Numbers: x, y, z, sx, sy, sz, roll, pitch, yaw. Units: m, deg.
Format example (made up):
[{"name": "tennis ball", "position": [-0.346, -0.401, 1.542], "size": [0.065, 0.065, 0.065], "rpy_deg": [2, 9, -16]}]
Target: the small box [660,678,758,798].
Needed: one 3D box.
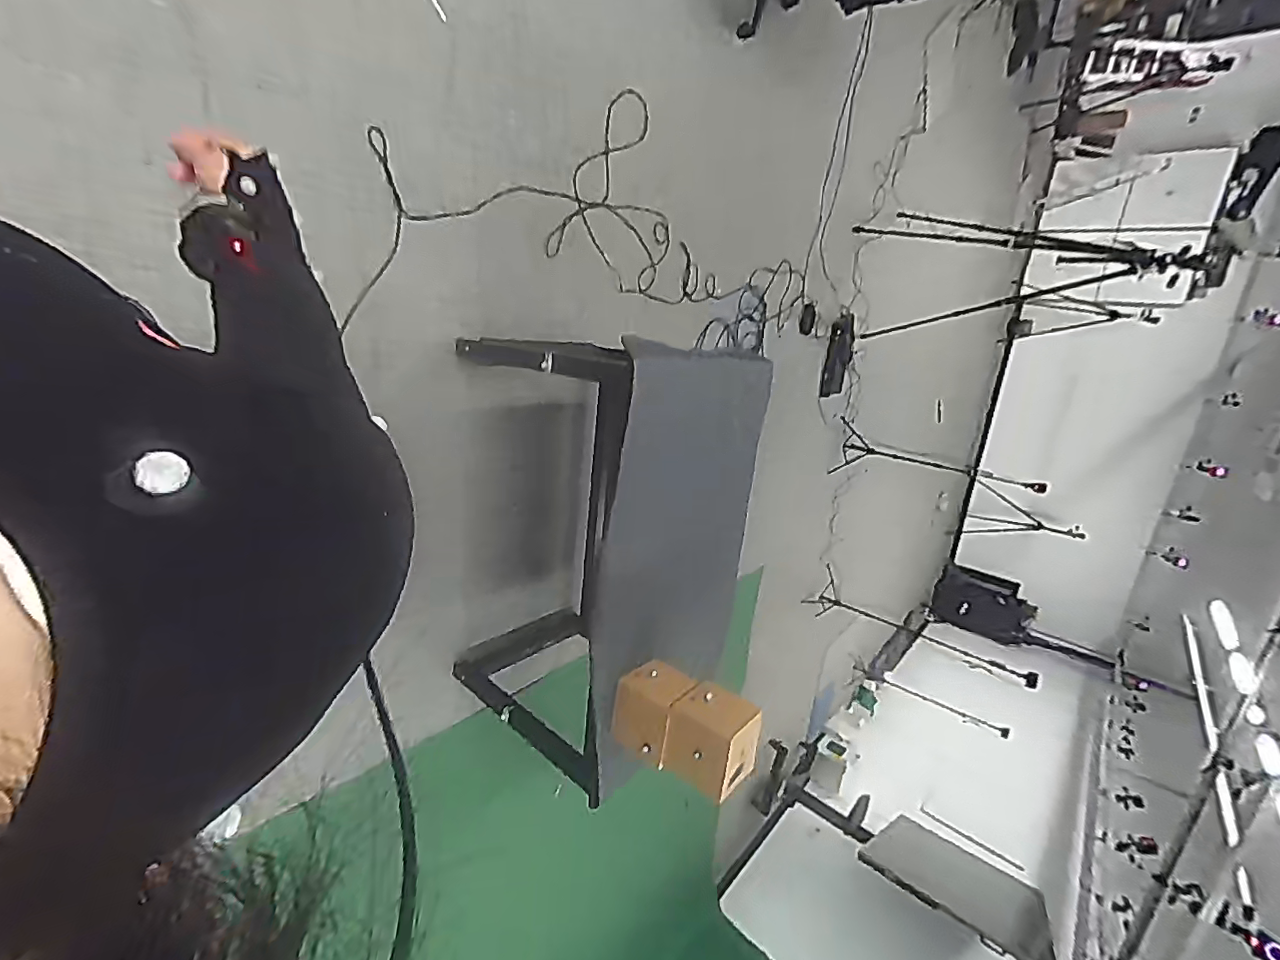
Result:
[{"name": "small box", "position": [0.167, 0.625, 1.333], "size": [0.168, 0.176, 0.179], "rpy_deg": [-9, 109, -51]}]

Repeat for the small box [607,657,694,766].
[{"name": "small box", "position": [0.031, 0.601, 1.423], "size": [0.168, 0.176, 0.179], "rpy_deg": [-7, 108, -52]}]
